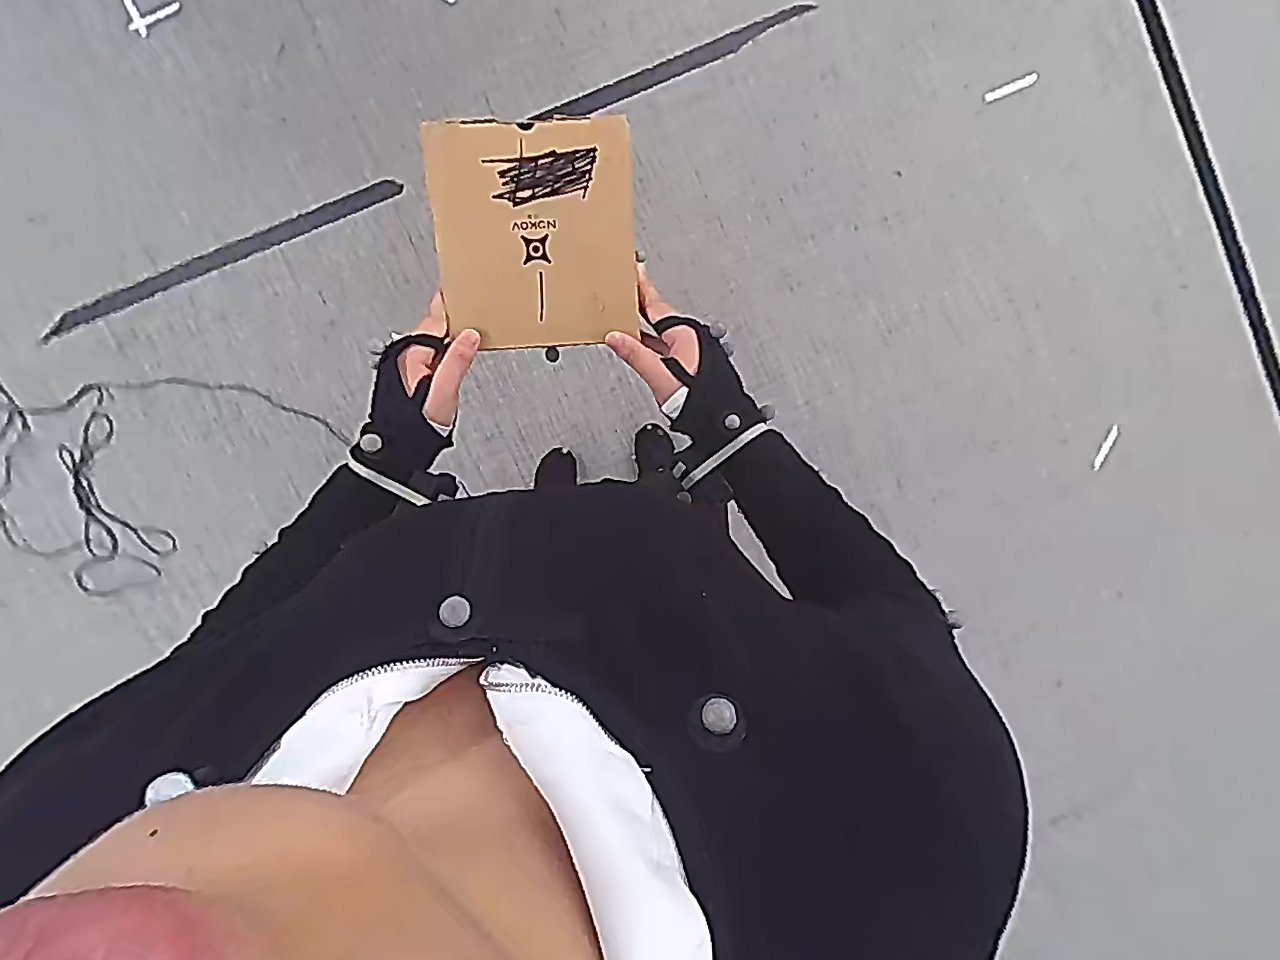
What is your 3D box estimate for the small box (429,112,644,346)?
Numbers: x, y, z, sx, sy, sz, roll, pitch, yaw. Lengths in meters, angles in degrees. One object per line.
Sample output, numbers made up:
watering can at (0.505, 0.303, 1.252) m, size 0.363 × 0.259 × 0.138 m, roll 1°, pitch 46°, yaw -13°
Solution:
small box at (-0.088, -0.226, 0.528) m, size 0.168 × 0.176 × 0.179 m, roll -5°, pitch 105°, yaw -3°
